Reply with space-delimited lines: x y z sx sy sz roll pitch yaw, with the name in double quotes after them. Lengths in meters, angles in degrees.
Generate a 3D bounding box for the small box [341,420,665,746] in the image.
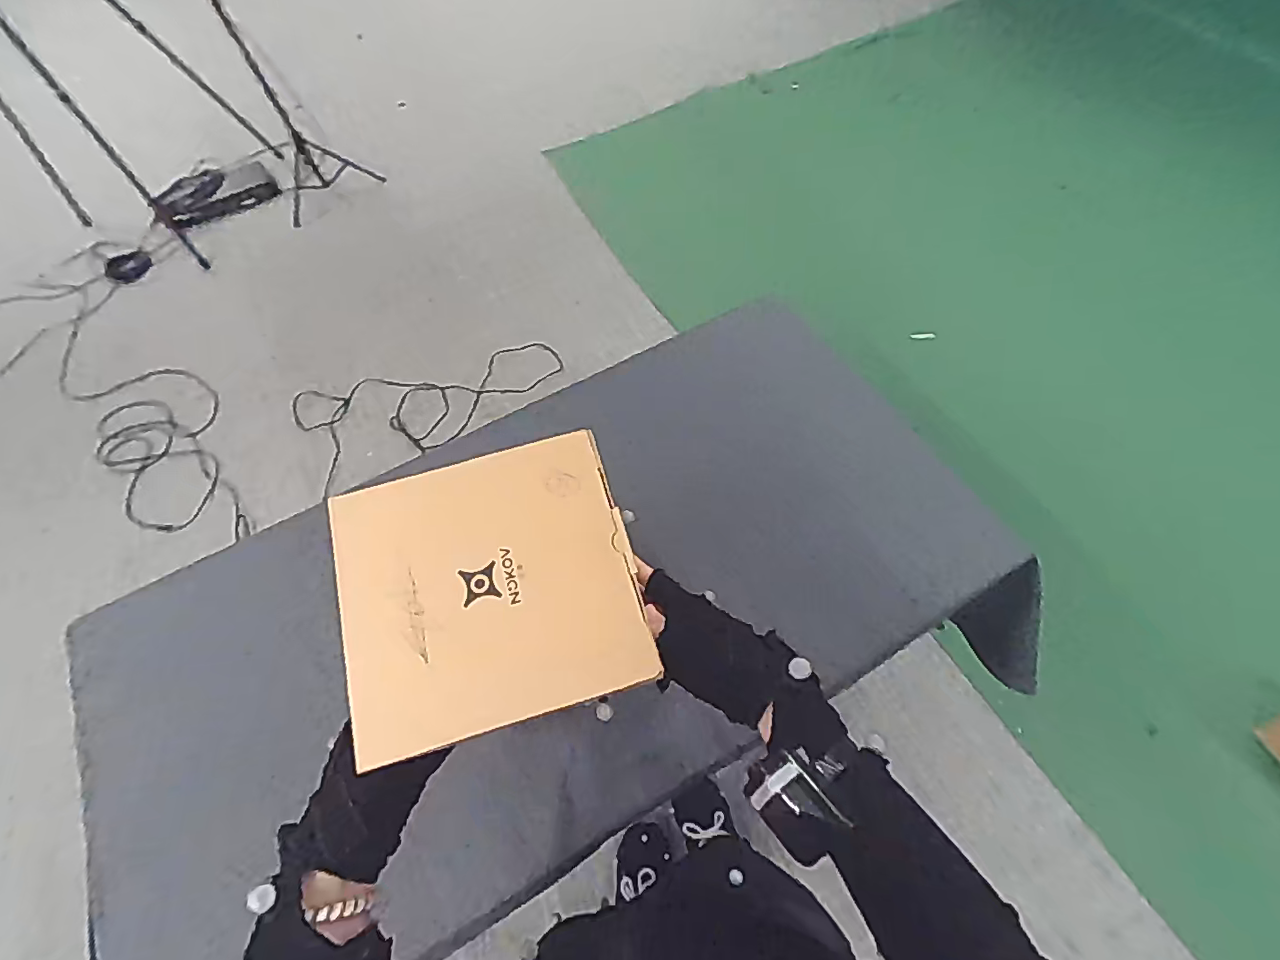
-0.089 0.080 0.404 0.179 0.176 0.168 -15 69 -5 "small box"

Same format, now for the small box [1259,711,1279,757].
1.500 0.563 1.143 0.179 0.176 0.168 -23 61 -9 "small box"
